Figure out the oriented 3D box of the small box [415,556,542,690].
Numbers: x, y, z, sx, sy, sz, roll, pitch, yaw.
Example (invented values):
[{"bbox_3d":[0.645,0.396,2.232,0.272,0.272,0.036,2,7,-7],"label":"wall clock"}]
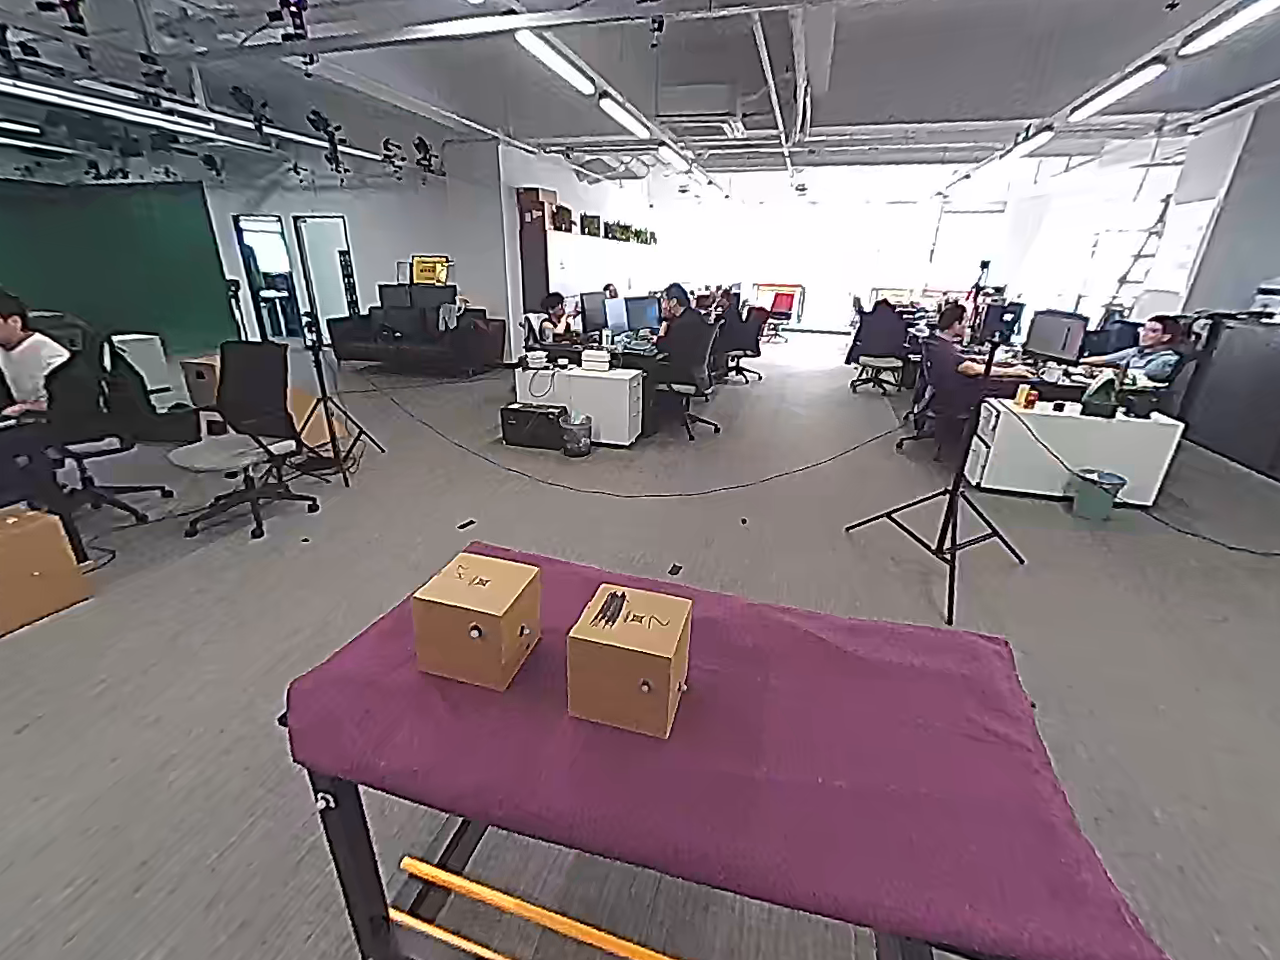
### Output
[{"bbox_3d":[-0.300,0.271,1.034,0.179,0.176,0.168,9,22,12],"label":"small box"}]
